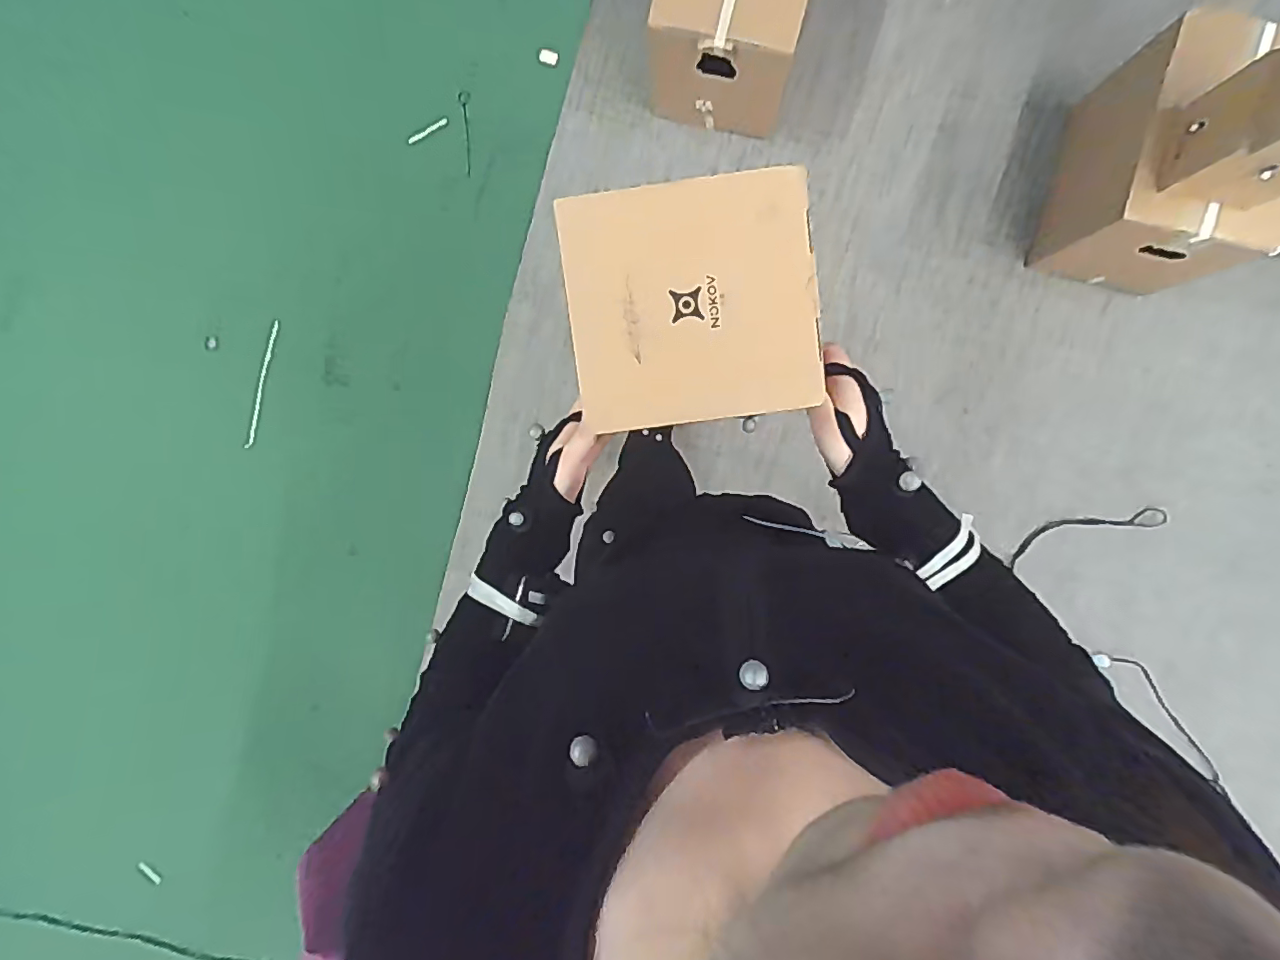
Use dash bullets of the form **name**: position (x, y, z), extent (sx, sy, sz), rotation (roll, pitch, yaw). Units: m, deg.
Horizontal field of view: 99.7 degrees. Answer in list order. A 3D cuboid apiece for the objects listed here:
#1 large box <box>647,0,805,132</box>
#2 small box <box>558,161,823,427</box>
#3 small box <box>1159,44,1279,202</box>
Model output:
- **large box**: position (0.218, -1.104, 1.236), extent (0.320, 0.320, 0.408), rotation (15, 94, 3)
- **small box**: position (0.038, -0.139, 0.458), extent (0.179, 0.176, 0.168), rotation (-7, 97, 2)
- **small box**: position (1.108, -0.622, 0.966), extent (0.179, 0.176, 0.168), rotation (13, 96, 4)
